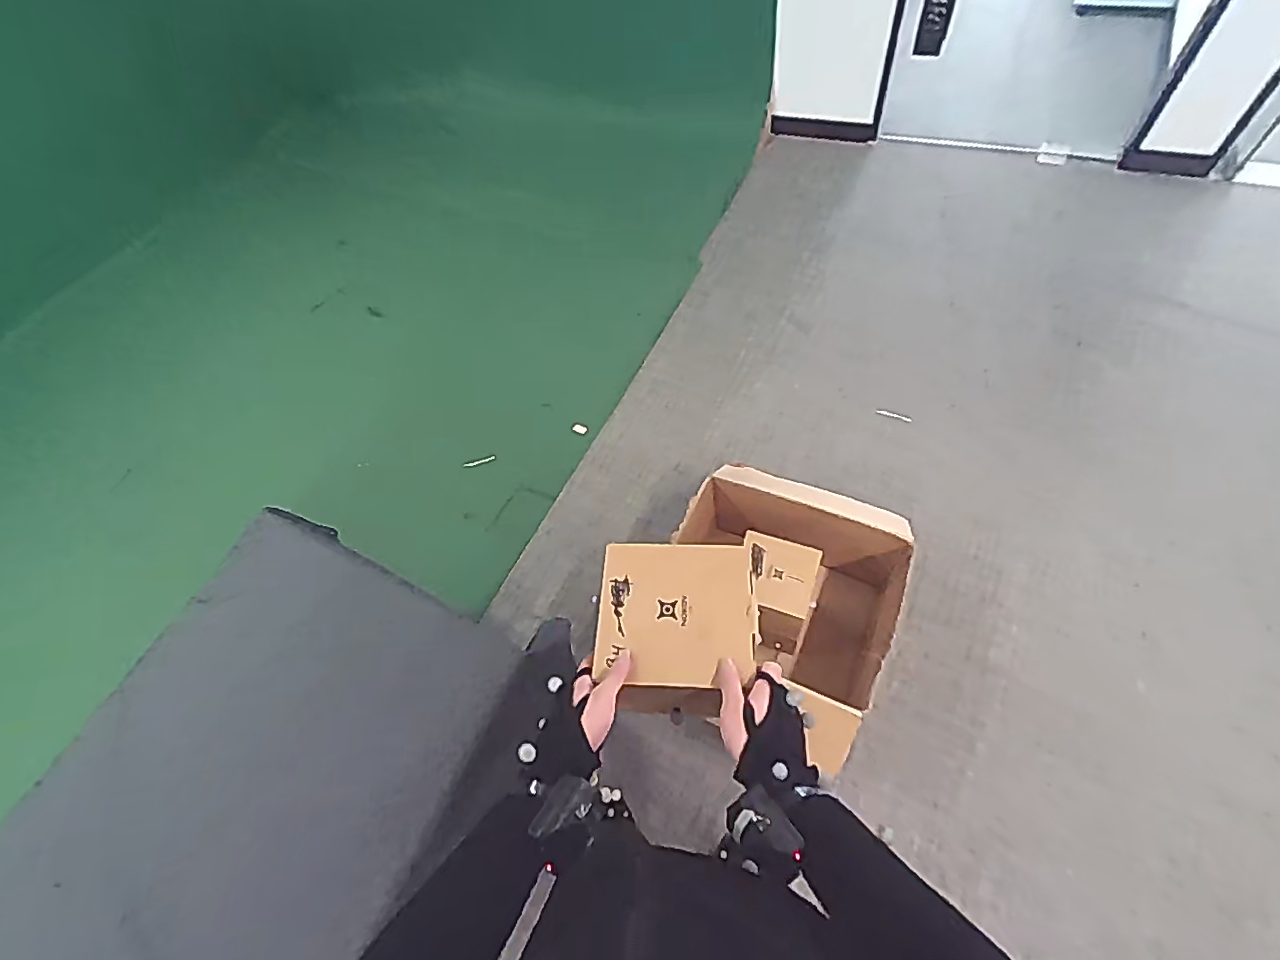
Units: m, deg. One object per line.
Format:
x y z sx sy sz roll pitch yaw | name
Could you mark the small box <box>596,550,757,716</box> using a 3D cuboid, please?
0.047 0.199 0.689 0.179 0.176 0.168 -1 58 5 | small box
